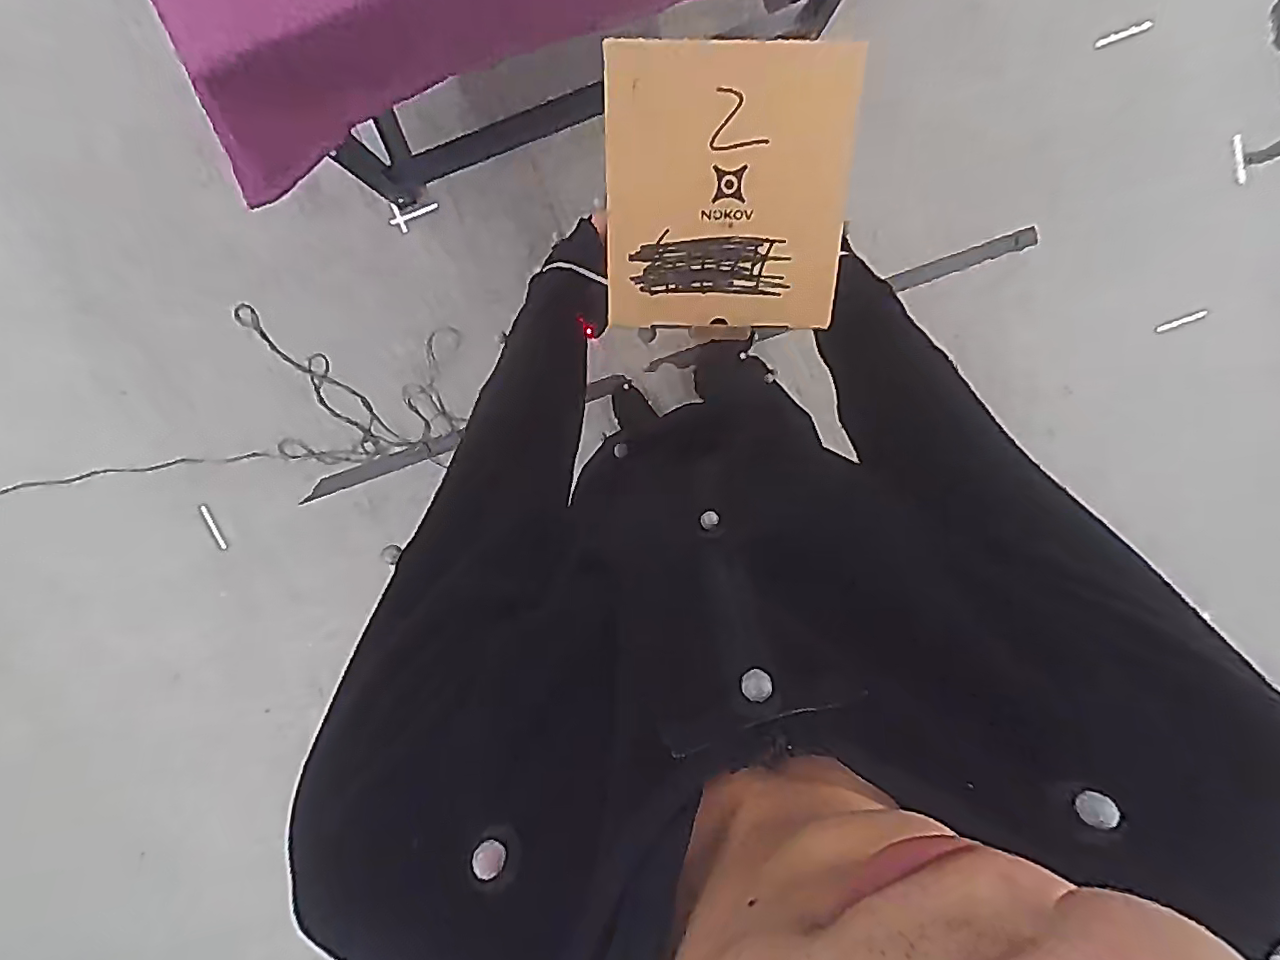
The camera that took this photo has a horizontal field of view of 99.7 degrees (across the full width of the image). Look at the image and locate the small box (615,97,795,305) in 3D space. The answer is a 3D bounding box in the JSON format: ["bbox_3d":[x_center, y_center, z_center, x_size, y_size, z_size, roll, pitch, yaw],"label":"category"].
[{"bbox_3d":[0.058,-0.291,0.586,0.168,0.176,0.179,-2,115,0],"label":"small box"}]
